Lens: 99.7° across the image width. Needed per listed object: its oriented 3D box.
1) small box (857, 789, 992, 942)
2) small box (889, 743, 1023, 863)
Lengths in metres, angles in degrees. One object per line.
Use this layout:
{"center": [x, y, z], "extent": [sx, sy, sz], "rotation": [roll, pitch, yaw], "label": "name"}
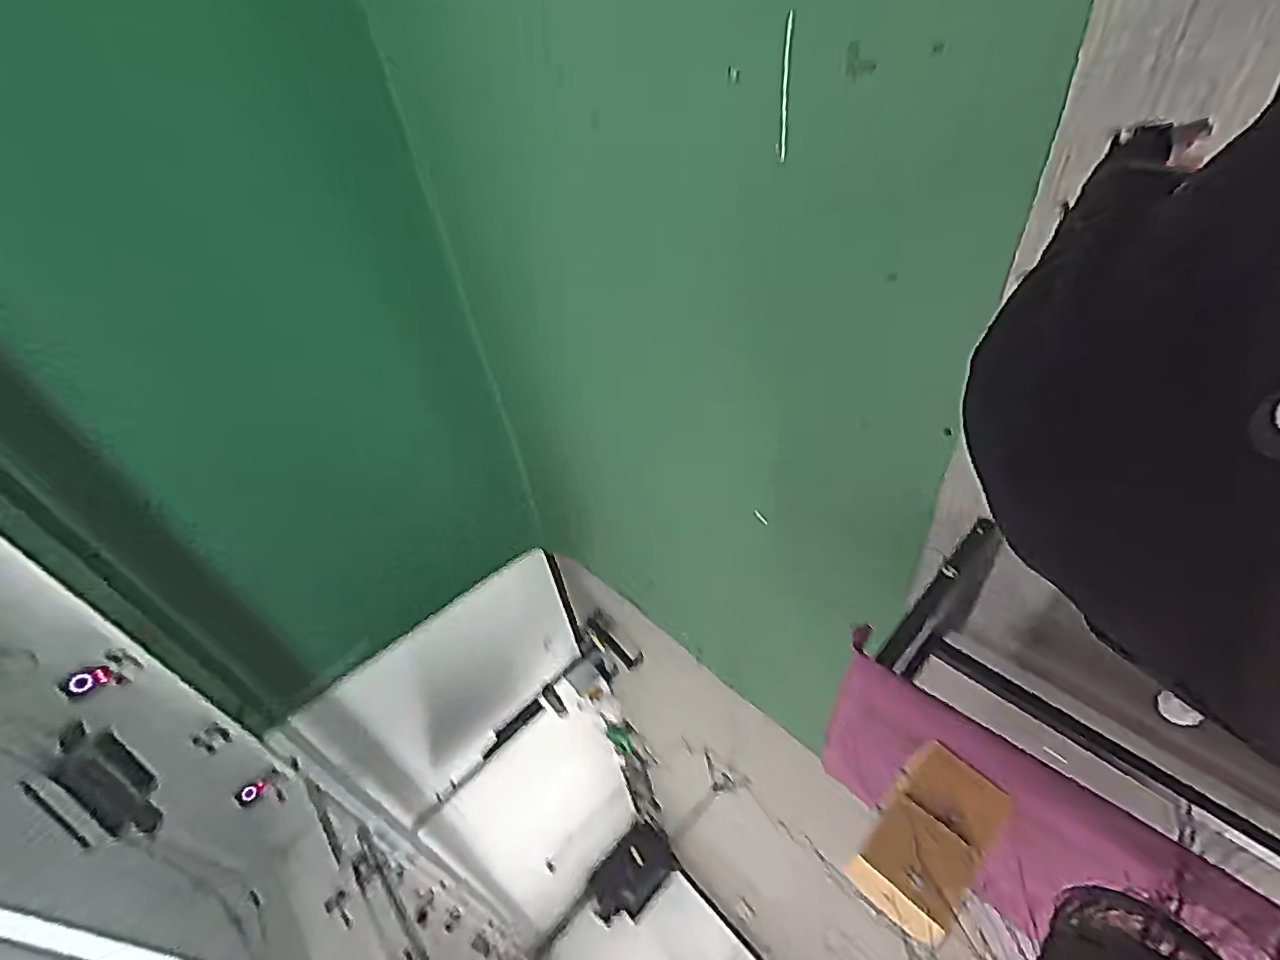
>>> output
{"center": [0.580, 0.783, 1.107], "extent": [0.179, 0.176, 0.168], "rotation": [32, 146, 34], "label": "small box"}
{"center": [0.698, 0.719, 1.203], "extent": [0.179, 0.176, 0.168], "rotation": [35, 148, 29], "label": "small box"}
